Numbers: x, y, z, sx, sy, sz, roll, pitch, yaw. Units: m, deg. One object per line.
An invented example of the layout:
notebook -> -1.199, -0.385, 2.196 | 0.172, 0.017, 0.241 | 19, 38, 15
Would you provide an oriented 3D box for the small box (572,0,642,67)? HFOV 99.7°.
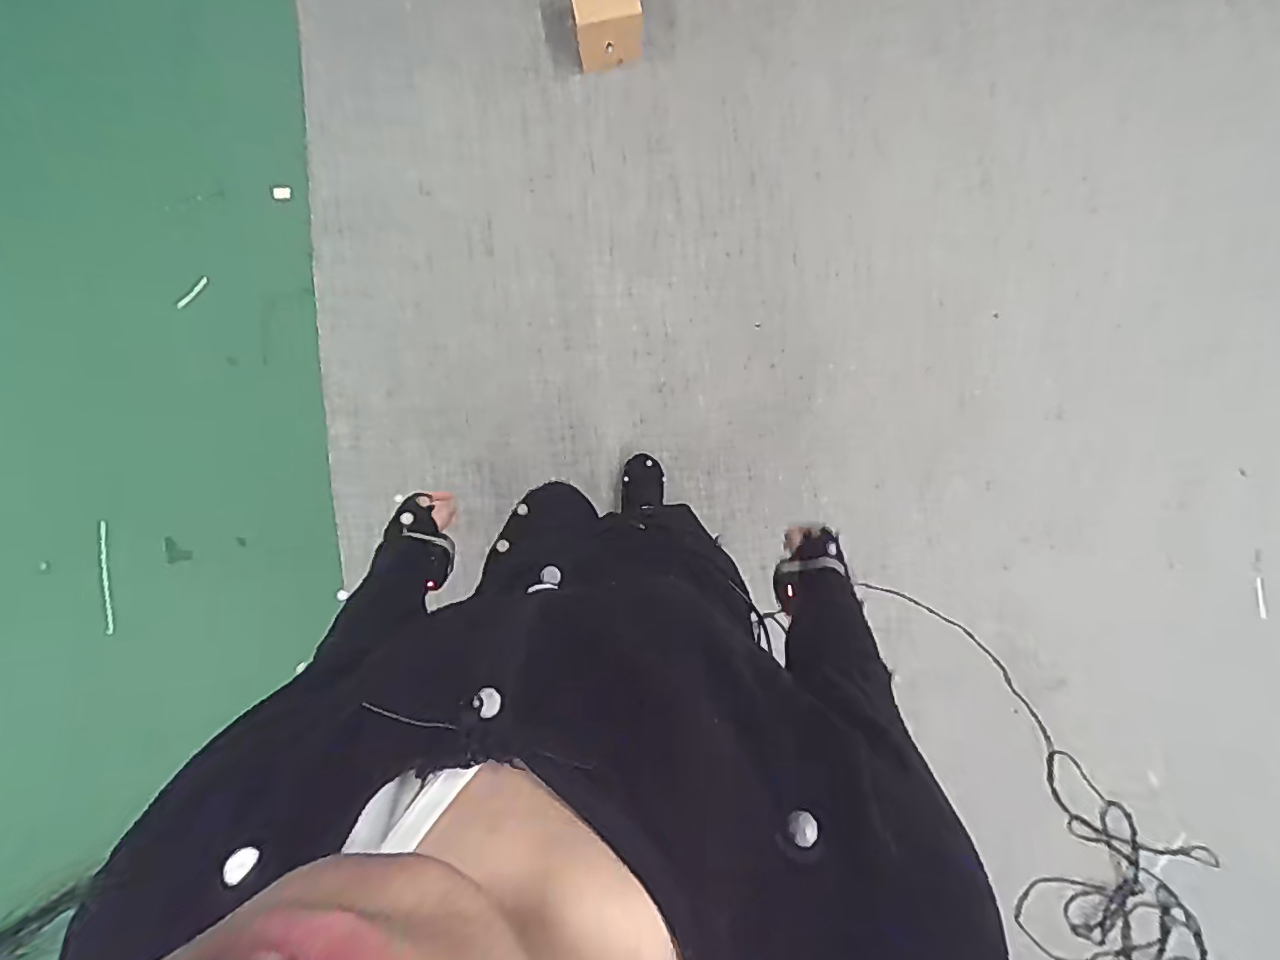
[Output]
small box -> -0.087, -1.220, 1.408 | 0.168, 0.176, 0.179 | -11, 91, 0
